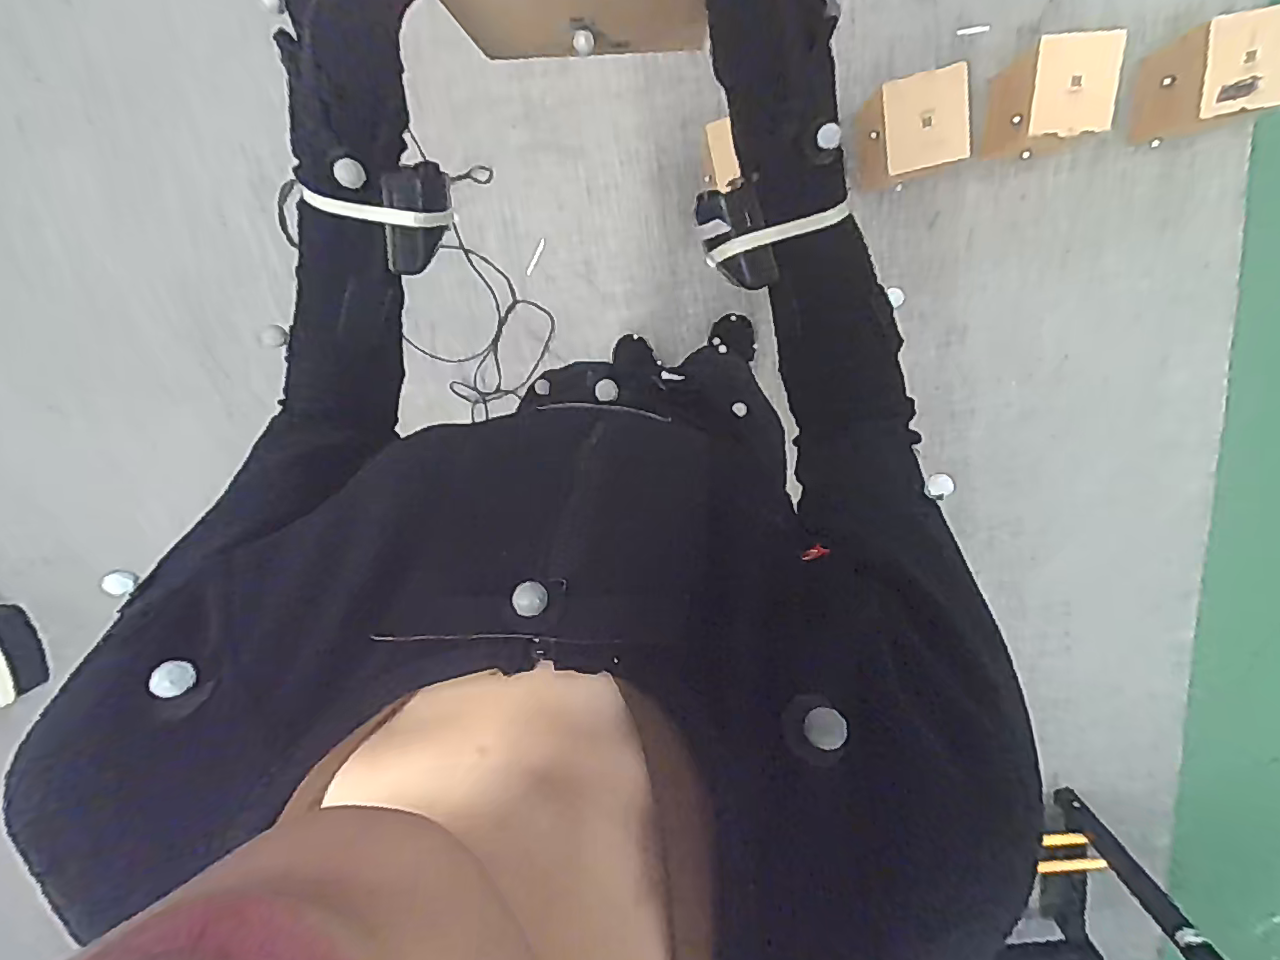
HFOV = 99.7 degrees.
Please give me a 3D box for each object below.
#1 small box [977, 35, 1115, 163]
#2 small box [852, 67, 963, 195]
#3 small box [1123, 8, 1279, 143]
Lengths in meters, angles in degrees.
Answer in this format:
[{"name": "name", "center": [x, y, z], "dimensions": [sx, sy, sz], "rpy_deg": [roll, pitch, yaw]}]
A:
[{"name": "small box", "center": [0.855, -0.805, 1.158], "dimensions": [0.168, 0.176, 0.179], "rpy_deg": [-3, 106, 3]}, {"name": "small box", "center": [0.576, -0.751, 1.182], "dimensions": [0.168, 0.176, 0.179], "rpy_deg": [-11, 107, 7]}, {"name": "small box", "center": [1.172, -0.835, 1.140], "dimensions": [0.168, 0.176, 0.179], "rpy_deg": [-7, 105, 4]}]
